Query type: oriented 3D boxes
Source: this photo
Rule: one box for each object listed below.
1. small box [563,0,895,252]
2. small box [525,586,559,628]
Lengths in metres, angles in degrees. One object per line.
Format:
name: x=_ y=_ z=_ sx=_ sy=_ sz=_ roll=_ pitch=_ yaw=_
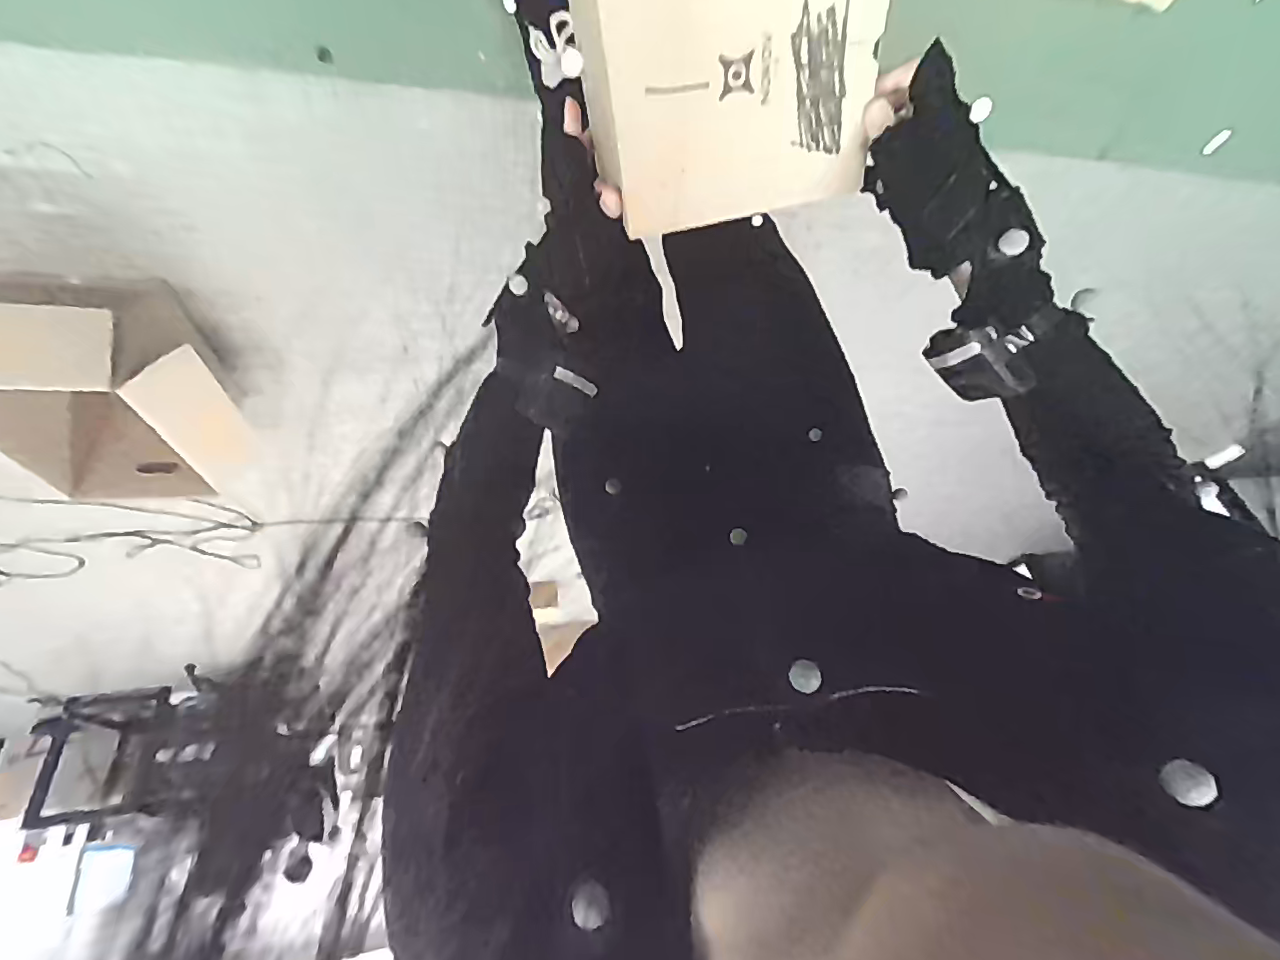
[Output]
small box: x=0.049 y=-0.289 z=0.378 sx=0.179 sy=0.176 sz=0.168 roll=-13 pitch=136 yaw=-2
small box: x=-0.533 y=0.686 z=2.937 sx=0.179 sy=0.176 sz=0.168 roll=-4 pitch=148 yaw=-11
